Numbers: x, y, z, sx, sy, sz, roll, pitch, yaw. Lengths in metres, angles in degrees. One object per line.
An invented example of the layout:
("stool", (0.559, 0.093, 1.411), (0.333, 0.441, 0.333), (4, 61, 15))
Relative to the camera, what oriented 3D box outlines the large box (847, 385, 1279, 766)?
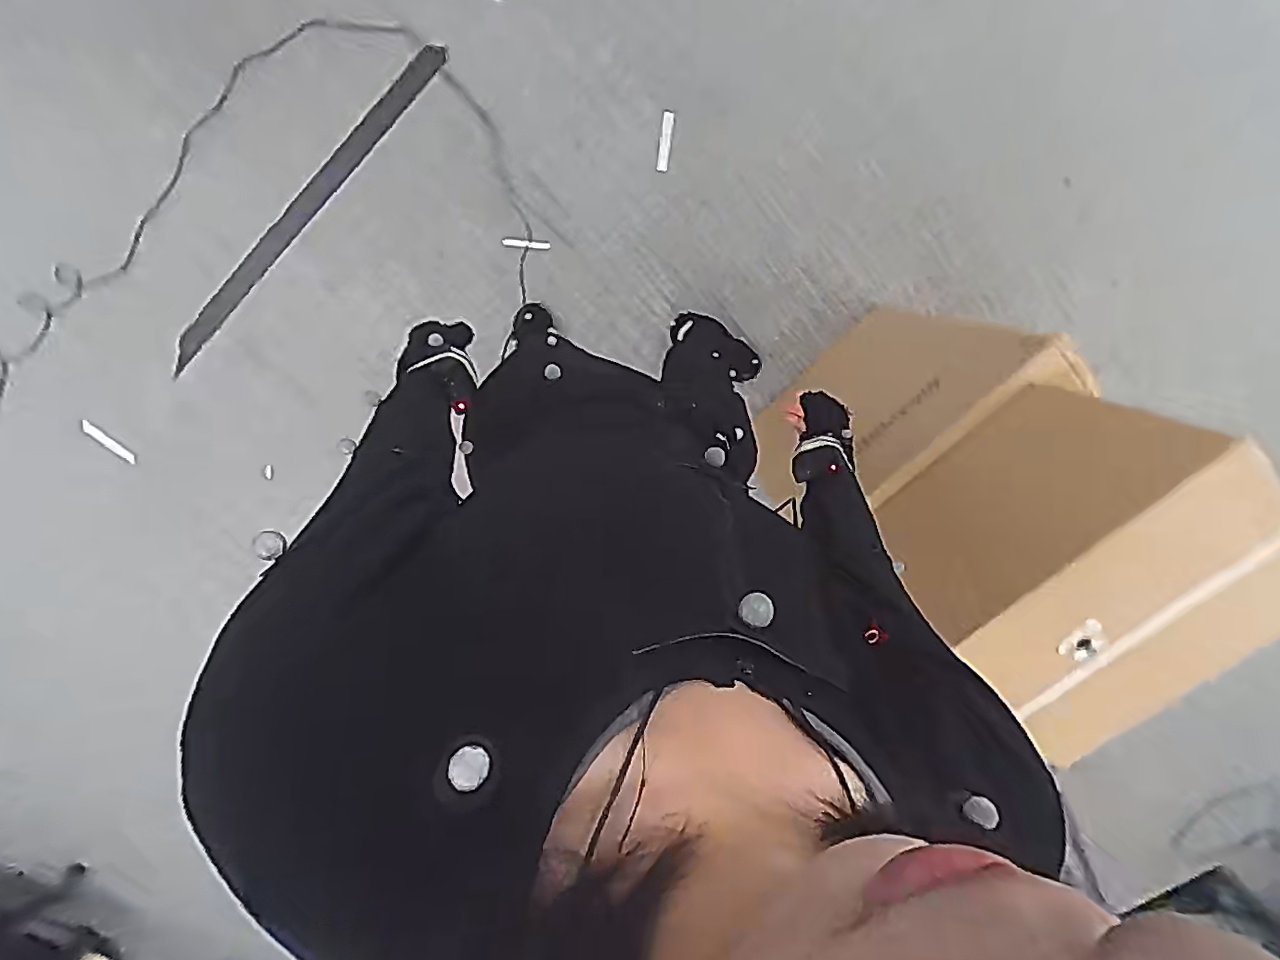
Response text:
("large box", (0.614, 0.126, 0.820), (0.408, 0.320, 0.320), (-43, 108, 13))
